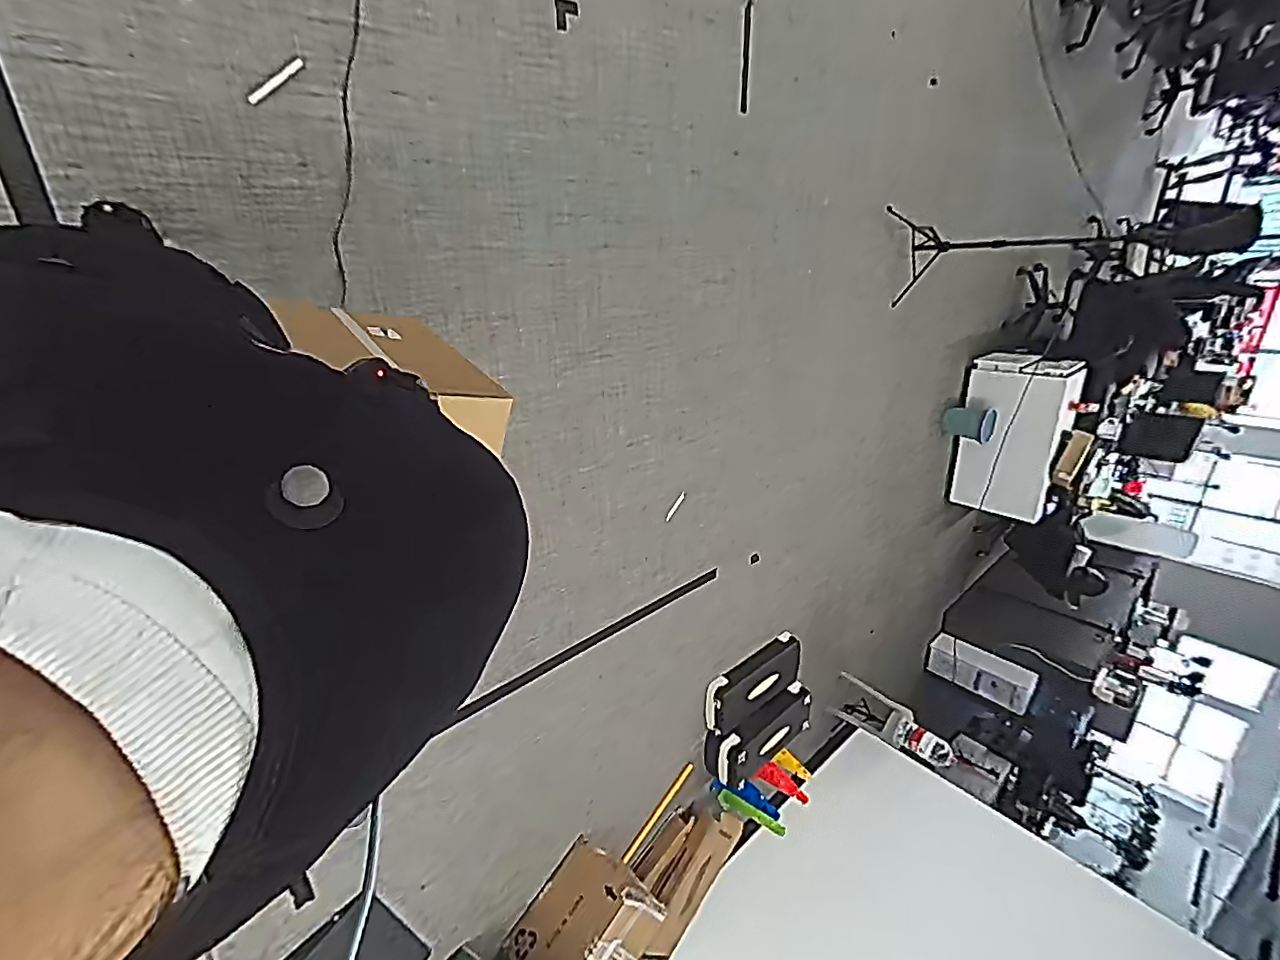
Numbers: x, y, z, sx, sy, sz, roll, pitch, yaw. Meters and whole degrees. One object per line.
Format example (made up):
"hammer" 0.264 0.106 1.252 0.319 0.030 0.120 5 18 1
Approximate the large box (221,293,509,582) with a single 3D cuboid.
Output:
"large box" -0.474 -0.088 0.908 0.320 0.408 0.320 -5 121 -44
